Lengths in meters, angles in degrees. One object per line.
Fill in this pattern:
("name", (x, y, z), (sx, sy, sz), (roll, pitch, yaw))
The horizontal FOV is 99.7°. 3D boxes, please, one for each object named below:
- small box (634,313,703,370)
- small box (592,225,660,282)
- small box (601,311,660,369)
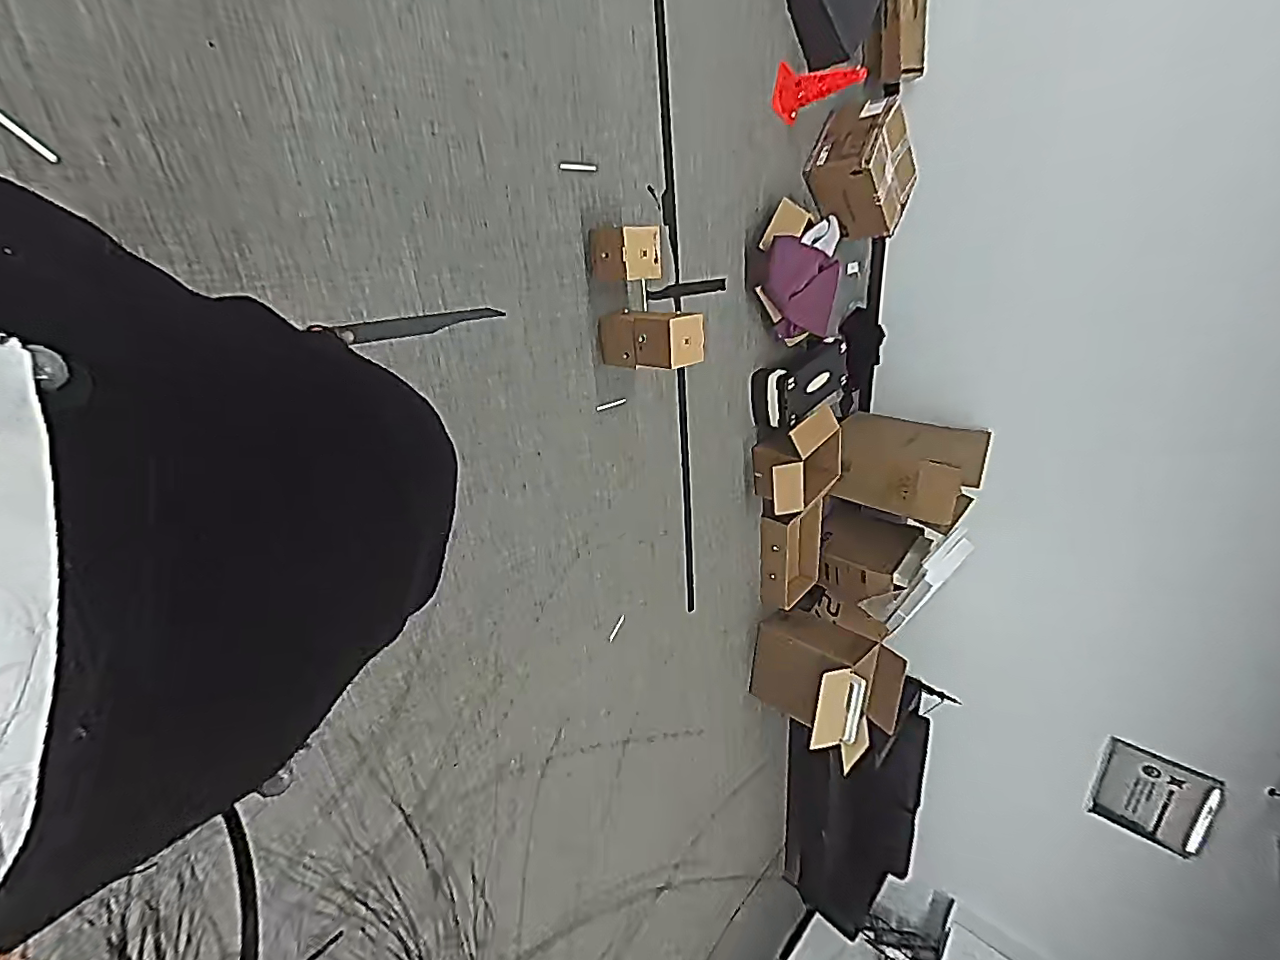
("small box", (0.100, -0.485, 1.869), (0.179, 0.176, 0.168), (-24, 119, -39))
("small box", (-0.052, -0.773, 1.851), (0.179, 0.176, 0.168), (-23, 119, -40))
("small box", (-0.025, -0.514, 1.970), (0.168, 0.176, 0.179), (-27, 122, -39))
